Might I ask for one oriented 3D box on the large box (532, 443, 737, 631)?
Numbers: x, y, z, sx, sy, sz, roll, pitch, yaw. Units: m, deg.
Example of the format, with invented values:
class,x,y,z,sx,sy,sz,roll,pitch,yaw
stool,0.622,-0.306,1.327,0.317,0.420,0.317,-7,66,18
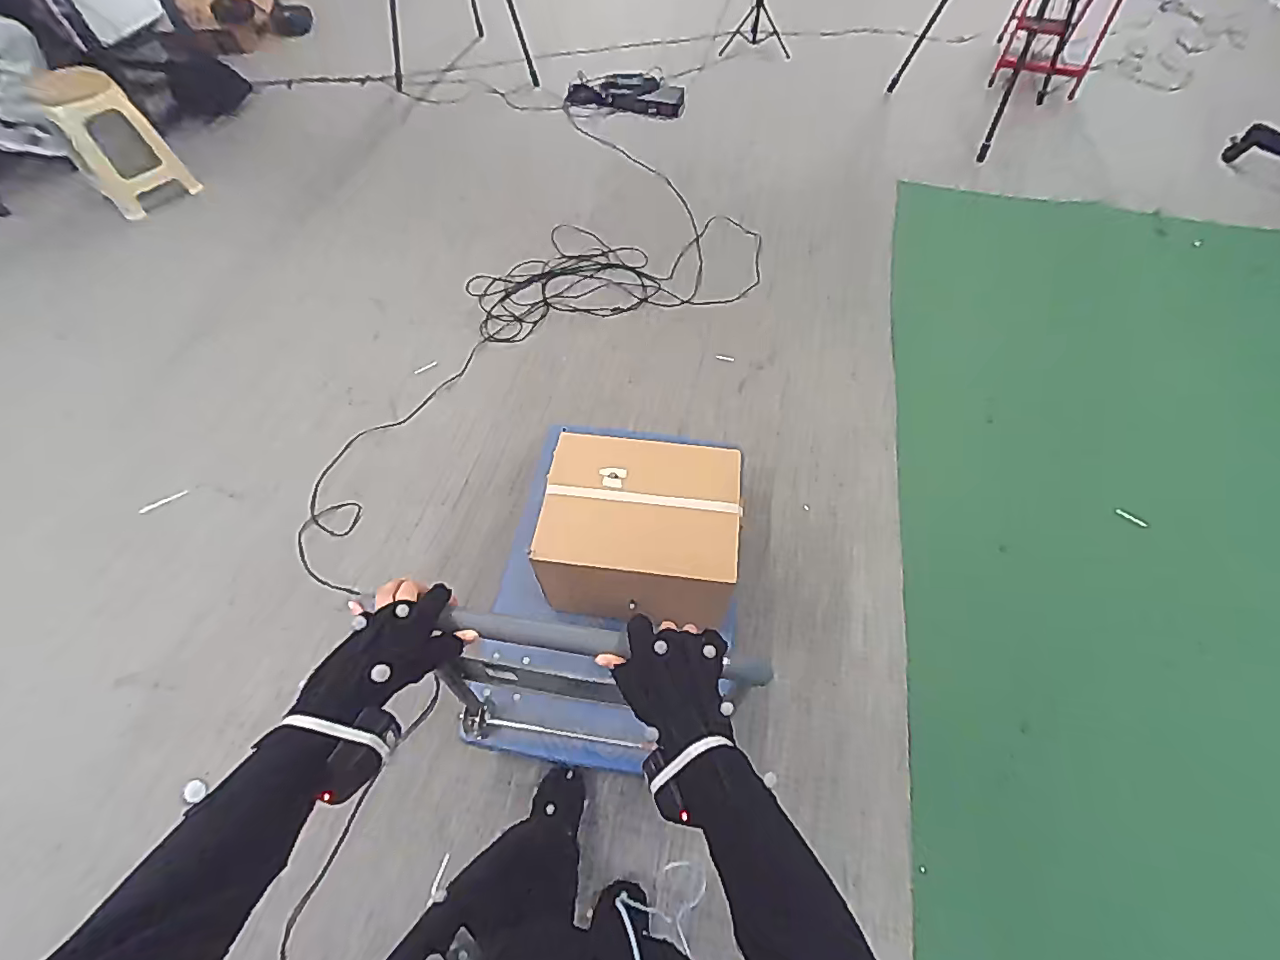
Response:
class,x,y,z,sx,sy,sz,roll,pitch,yaw
large box,0.006,0.139,1.253,0.408,0.320,0.320,6,57,6
